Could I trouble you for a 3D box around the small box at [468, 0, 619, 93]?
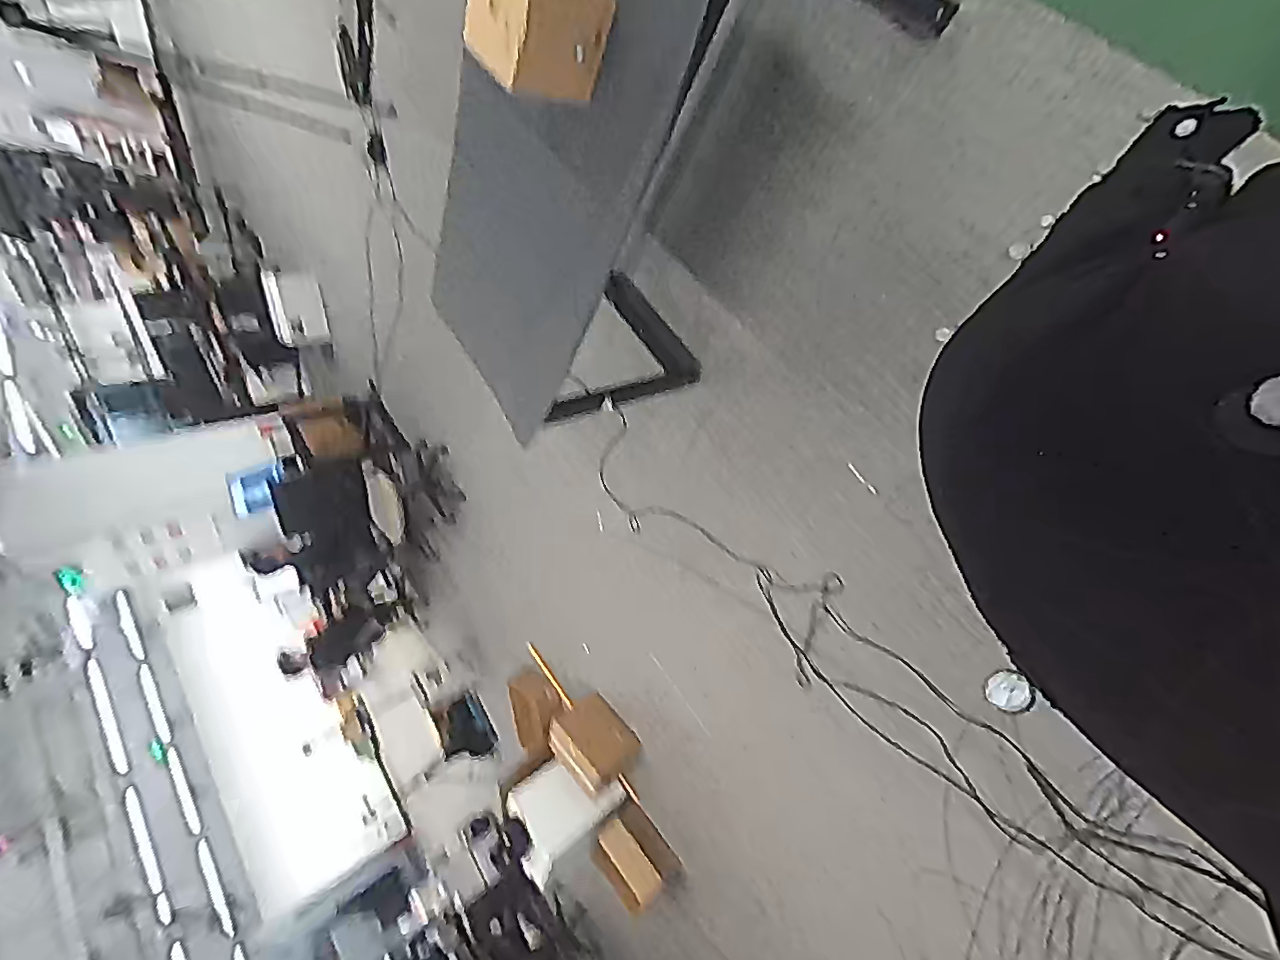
[{"bbox_3d":[-0.167,-0.800,0.924,0.179,0.176,0.168,53,139,18],"label":"small box"}]
